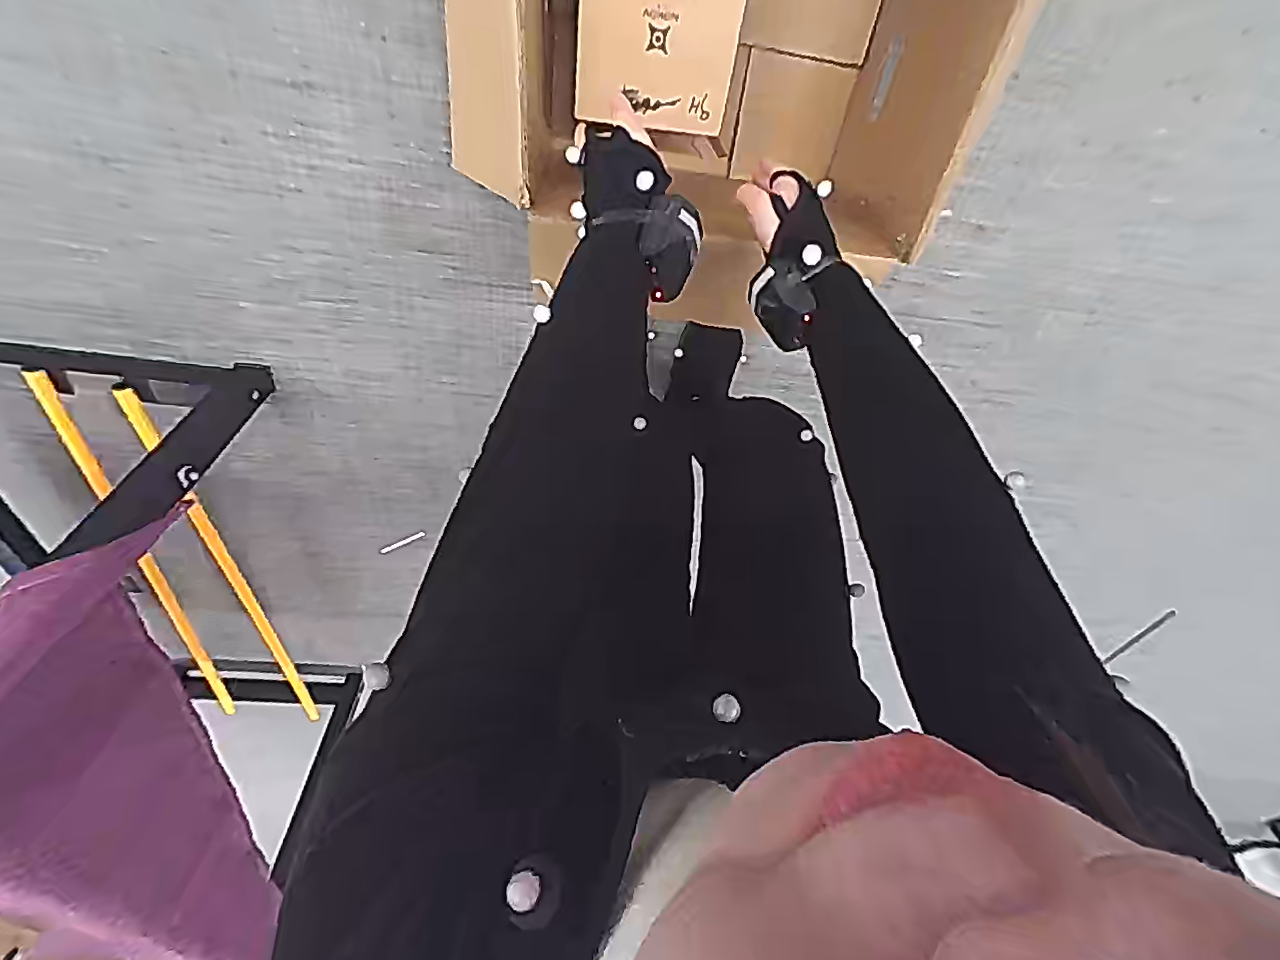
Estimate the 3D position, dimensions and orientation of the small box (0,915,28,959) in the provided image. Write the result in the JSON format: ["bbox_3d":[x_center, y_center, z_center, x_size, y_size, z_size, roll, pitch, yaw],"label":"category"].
[{"bbox_3d":[-0.862,0.588,0.601,0.179,0.176,0.168,9,131,-9],"label":"small box"}]
